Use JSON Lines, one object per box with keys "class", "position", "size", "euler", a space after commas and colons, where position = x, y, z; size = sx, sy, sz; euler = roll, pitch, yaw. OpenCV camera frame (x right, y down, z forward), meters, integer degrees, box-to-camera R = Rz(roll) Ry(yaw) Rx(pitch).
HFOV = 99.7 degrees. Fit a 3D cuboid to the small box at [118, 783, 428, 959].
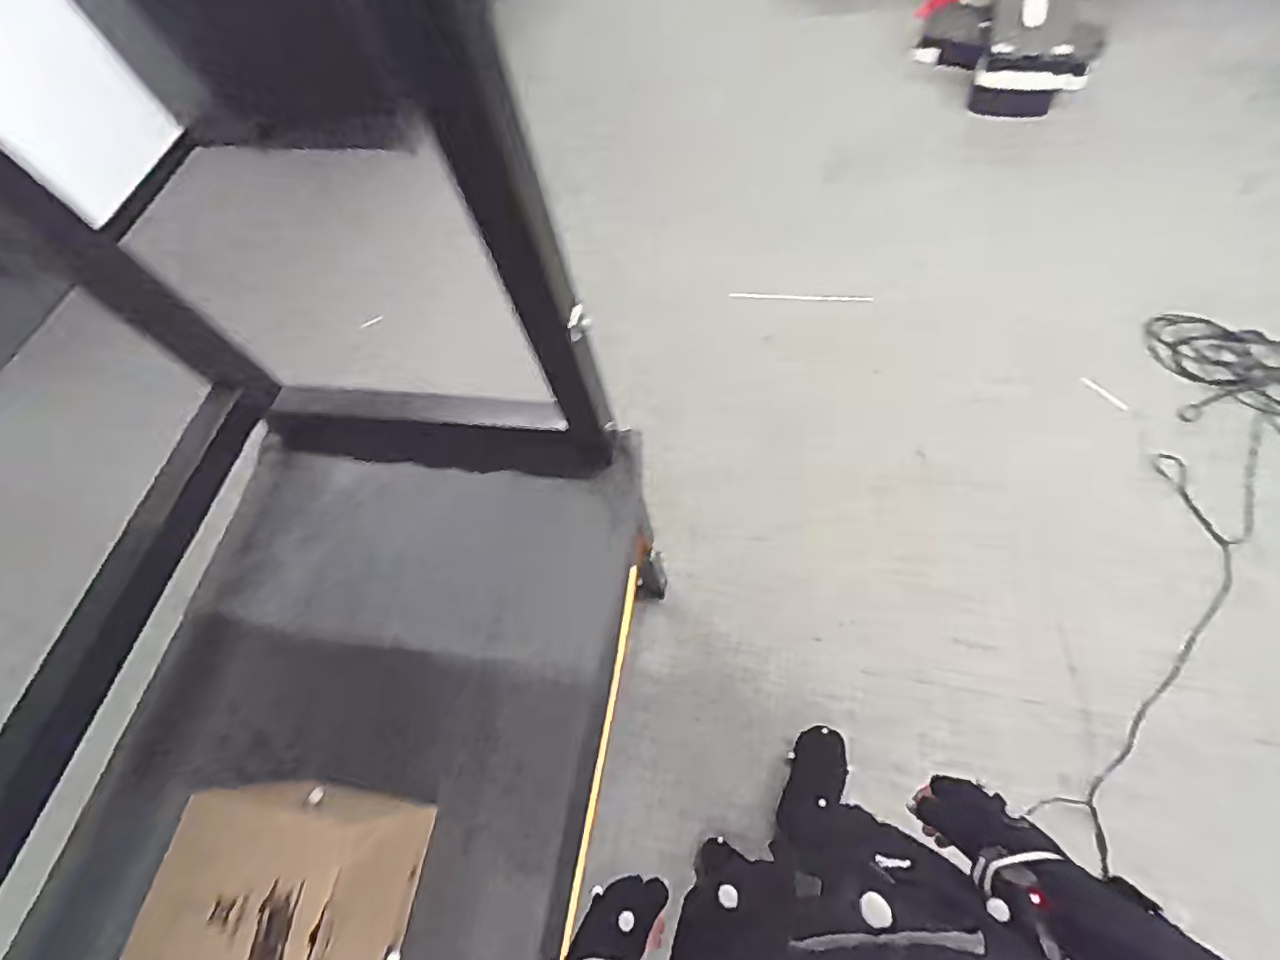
{"class": "small box", "position": [-0.344, 0.409, 0.538], "size": [0.179, 0.176, 0.168], "euler": [4, 64, 12]}
